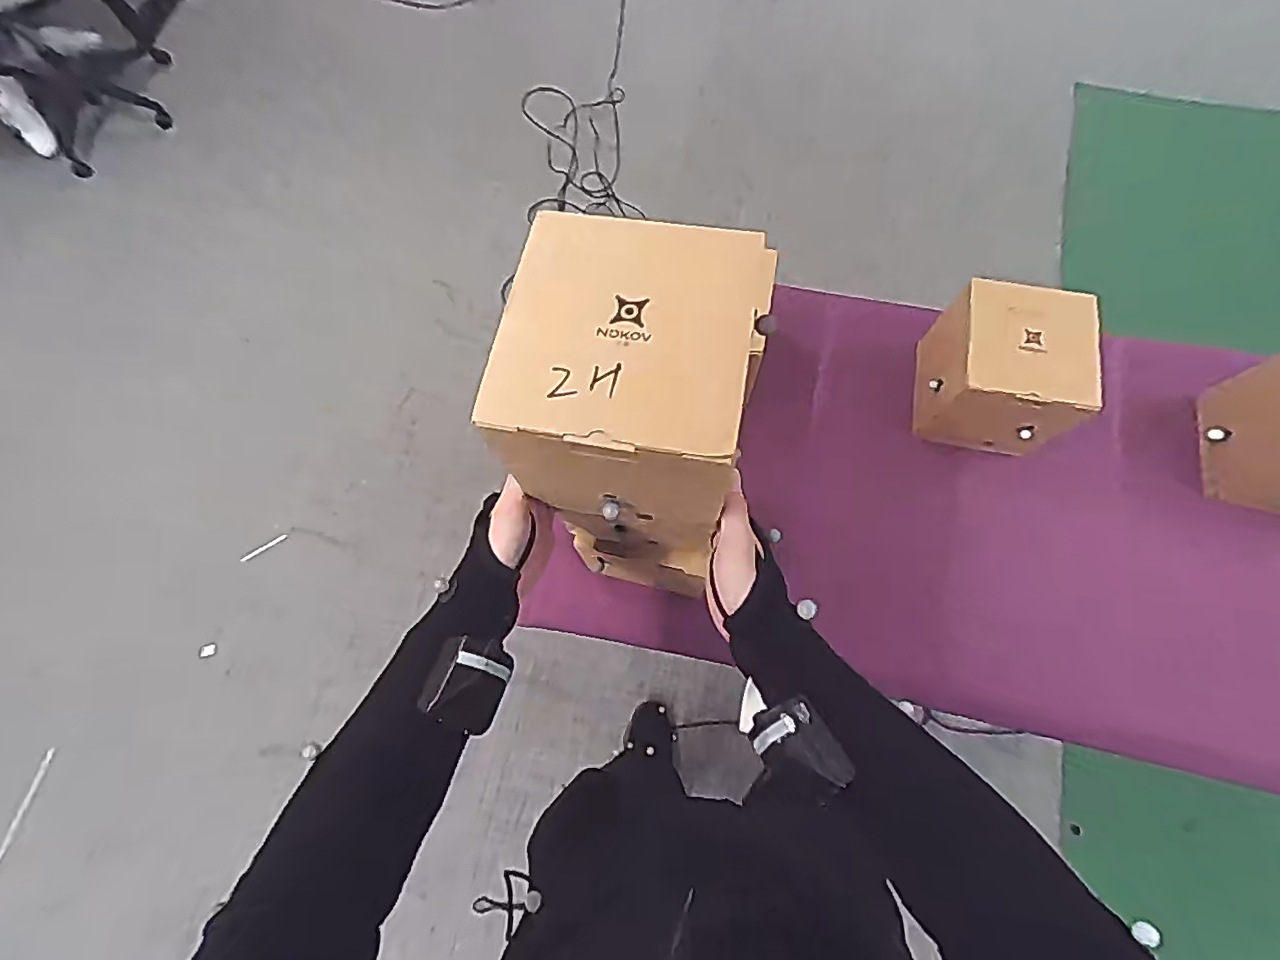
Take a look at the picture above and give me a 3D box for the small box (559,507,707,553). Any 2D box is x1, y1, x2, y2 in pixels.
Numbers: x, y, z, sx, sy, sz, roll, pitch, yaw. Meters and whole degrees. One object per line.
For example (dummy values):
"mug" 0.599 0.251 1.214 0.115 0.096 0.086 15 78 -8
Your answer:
"small box" 0.003 -0.034 0.591 0.168 0.176 0.179 10 72 7

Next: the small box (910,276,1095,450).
"small box" 0.510 -0.160 0.783 0.168 0.176 0.179 11 72 6

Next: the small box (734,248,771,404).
"small box" 0.096 -0.234 0.827 0.168 0.176 0.179 10 72 6

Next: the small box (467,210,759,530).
"small box" -0.009 -0.076 0.430 0.168 0.176 0.179 9 71 7

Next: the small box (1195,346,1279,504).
"small box" 0.913 -0.069 0.729 0.168 0.176 0.179 12 73 7
